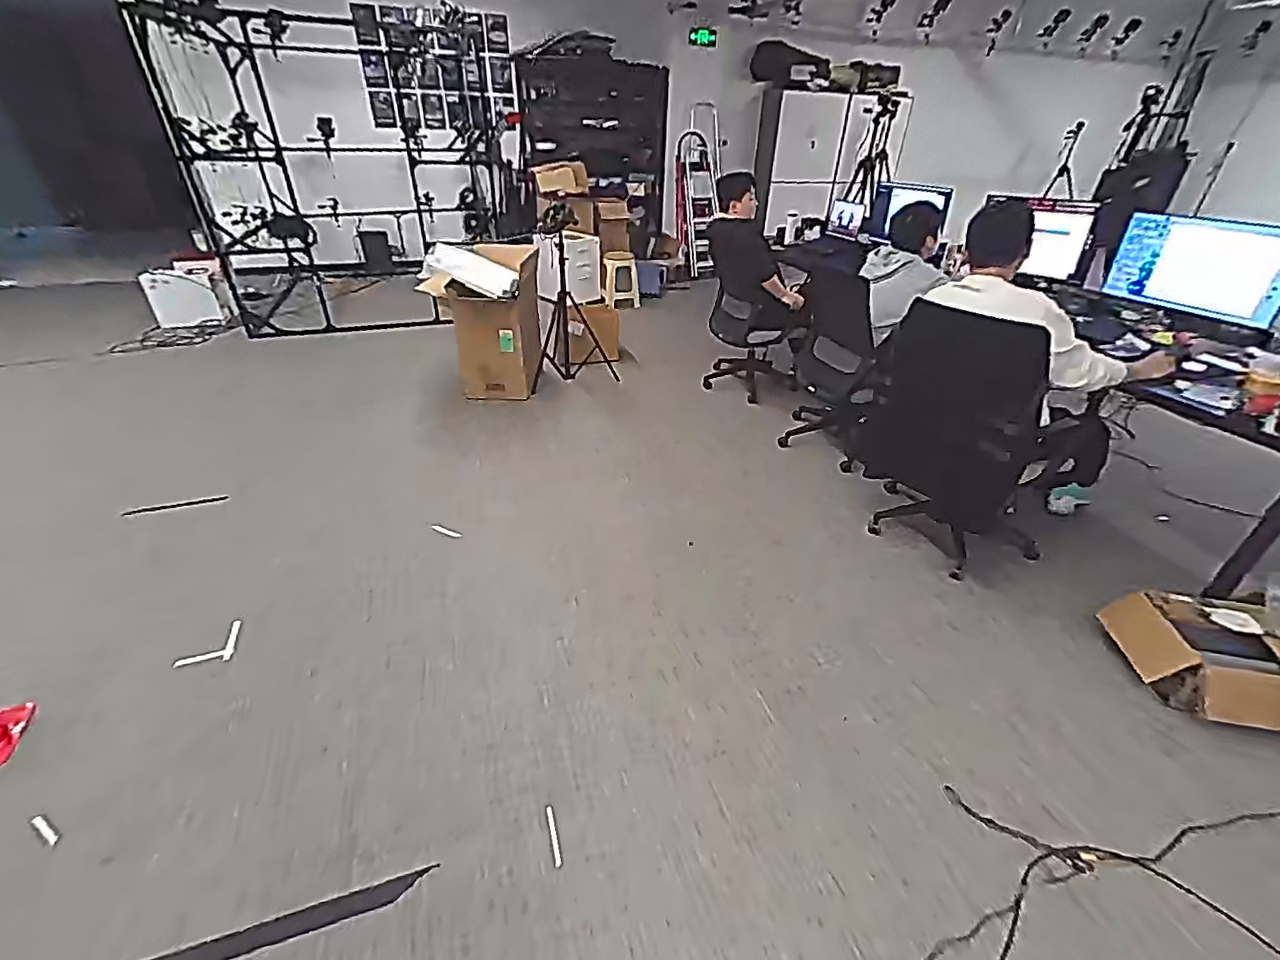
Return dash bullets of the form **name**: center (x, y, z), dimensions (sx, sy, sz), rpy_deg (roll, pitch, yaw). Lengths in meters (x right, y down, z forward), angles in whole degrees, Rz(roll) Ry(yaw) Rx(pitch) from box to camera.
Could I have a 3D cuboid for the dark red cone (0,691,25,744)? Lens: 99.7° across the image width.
- **dark red cone**: center (-1.789, 0.536, 1.347), dimensions (0.202, 0.394, 0.201), rpy_deg (-14, 37, -22)
